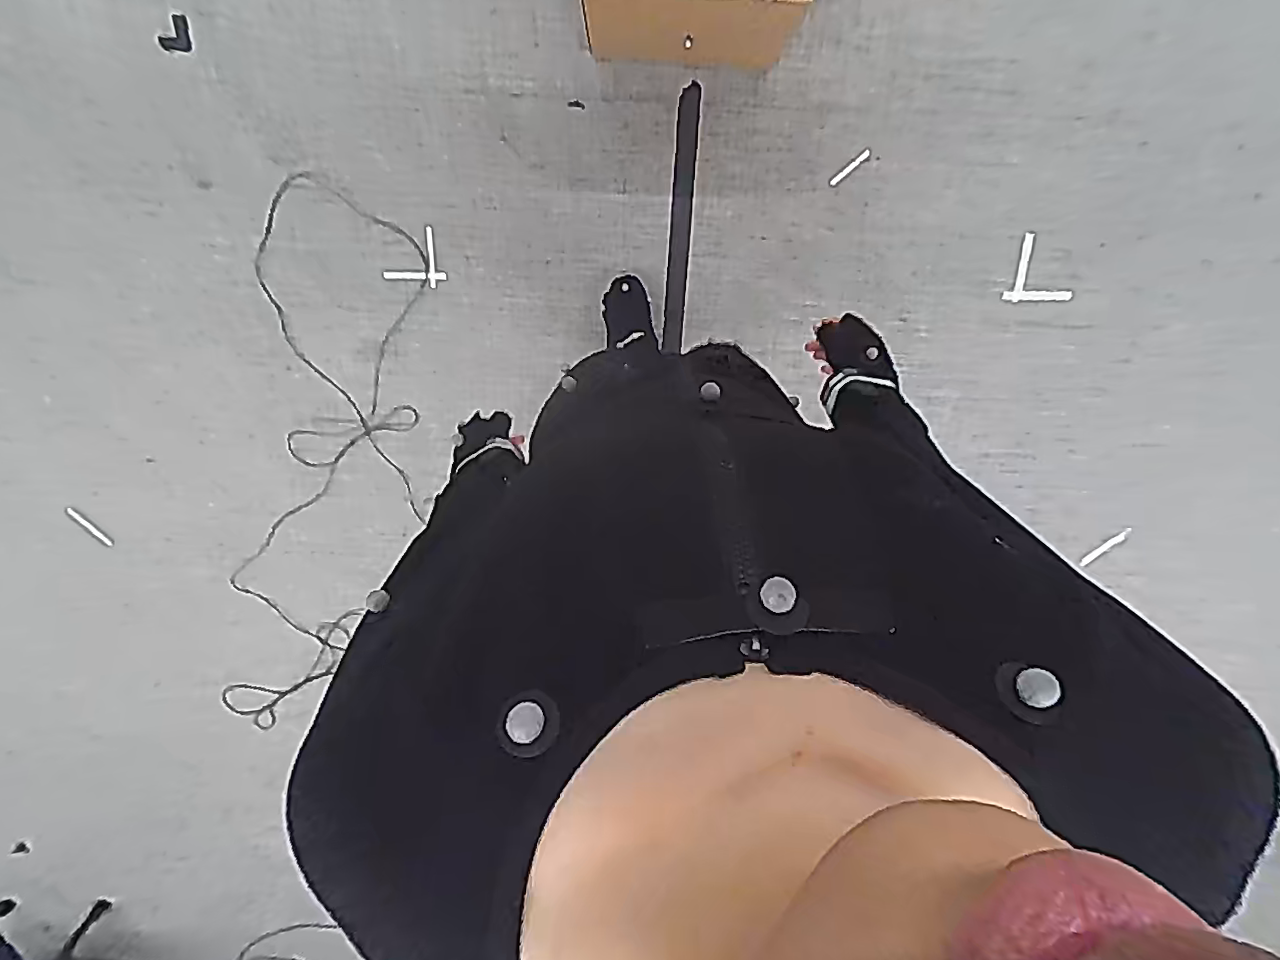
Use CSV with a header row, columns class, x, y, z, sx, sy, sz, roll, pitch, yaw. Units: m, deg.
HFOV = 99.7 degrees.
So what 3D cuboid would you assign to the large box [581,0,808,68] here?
class,x,y,z,sx,sy,sz,roll,pitch,yaw
large box,0.100,-1.023,1.024,0.408,0.320,0.320,2,108,-1
